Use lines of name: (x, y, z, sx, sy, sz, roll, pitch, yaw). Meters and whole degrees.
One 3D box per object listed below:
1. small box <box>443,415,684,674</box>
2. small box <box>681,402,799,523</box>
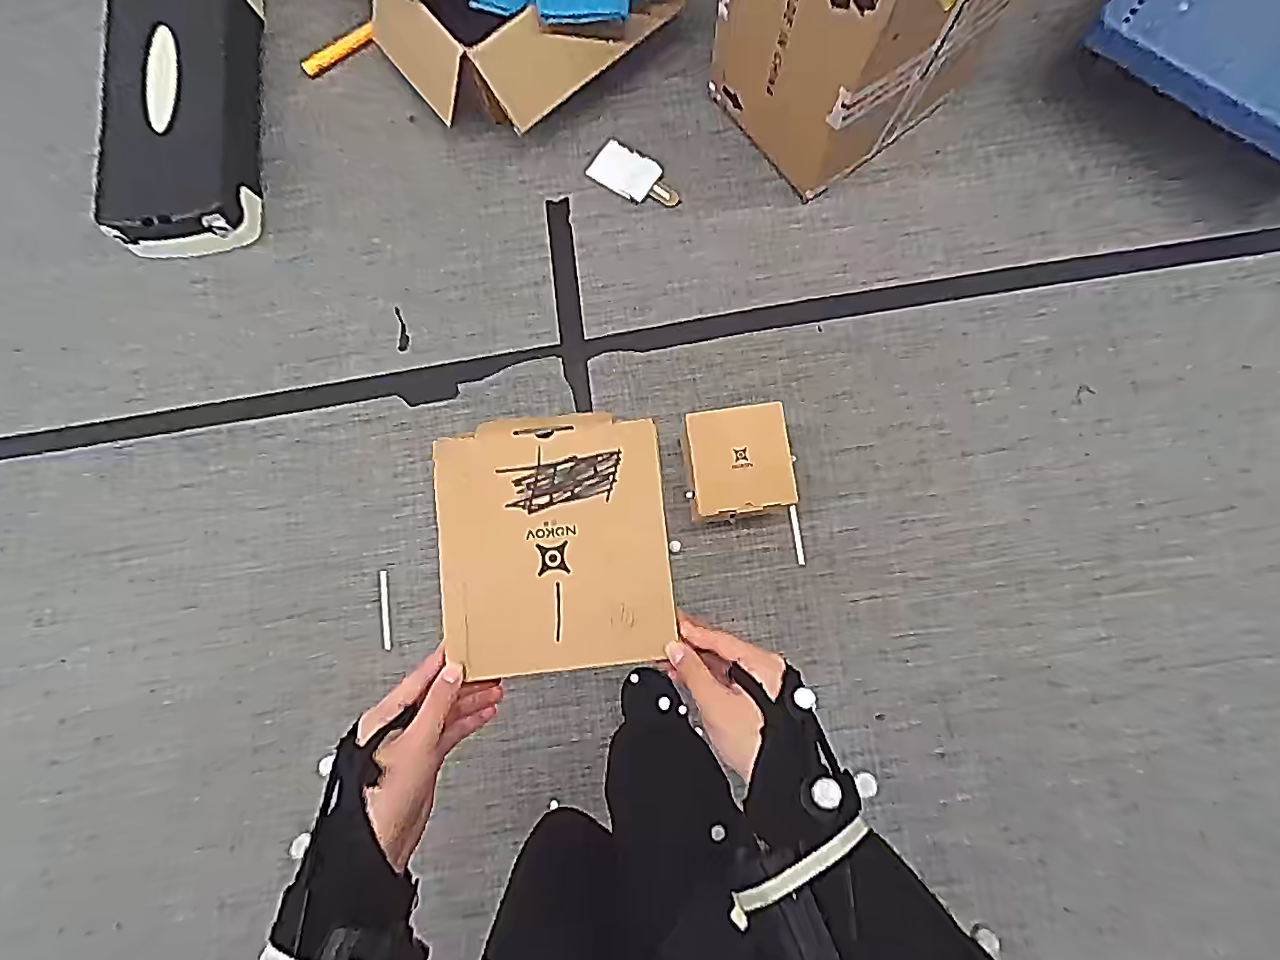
small box: (-0.059, 0.055, 0.468, 0.168, 0.176, 0.179, -6, 82, -1)
small box: (0.168, -0.024, 0.965, 0.168, 0.176, 0.179, -8, 82, 0)
